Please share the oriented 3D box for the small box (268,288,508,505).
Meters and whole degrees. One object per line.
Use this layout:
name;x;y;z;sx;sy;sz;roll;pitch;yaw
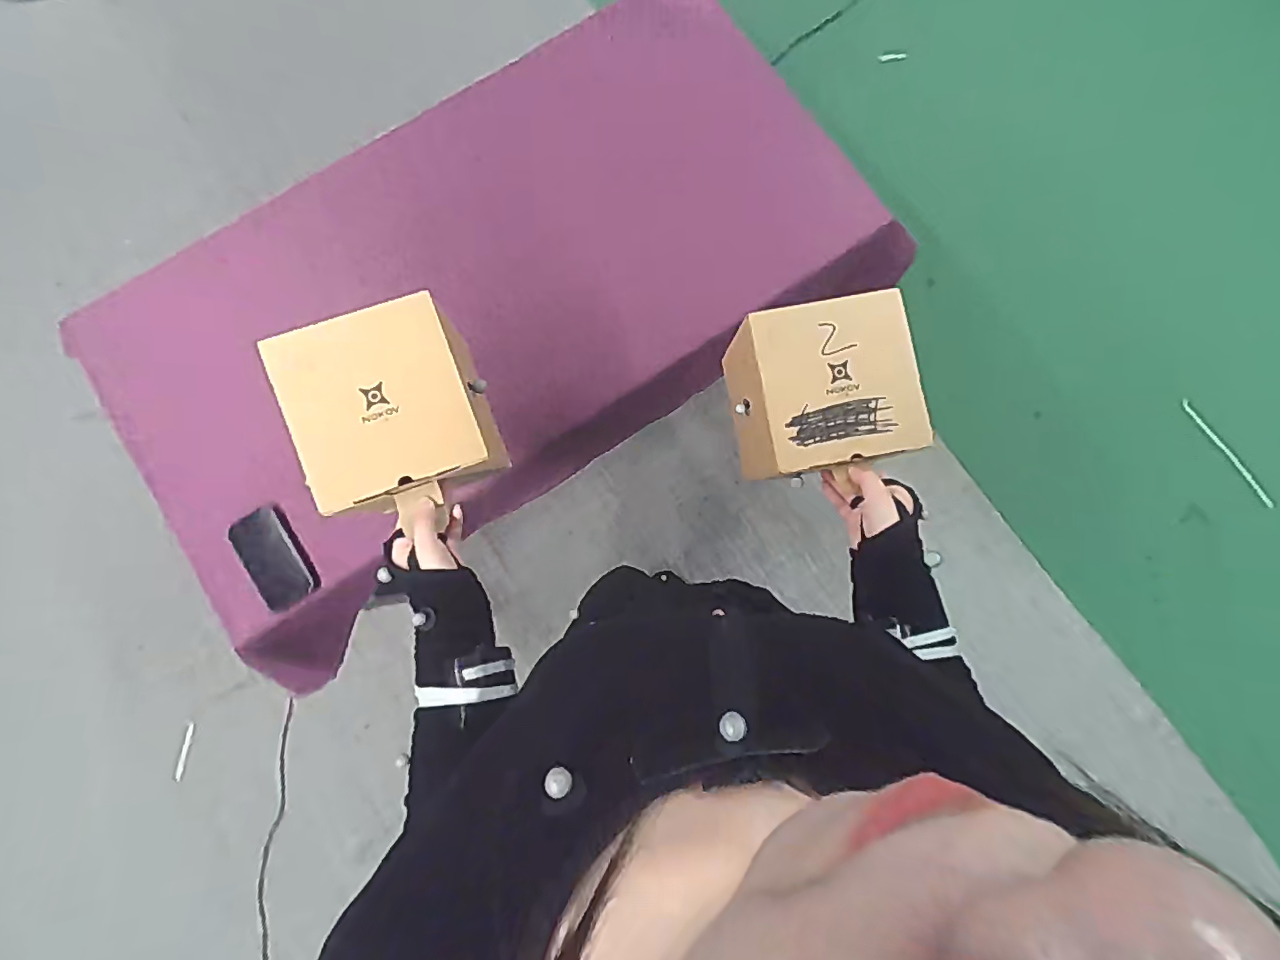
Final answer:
small box;-0.254;-0.078;0.591;0.168;0.176;0.179;-19;92;-7
